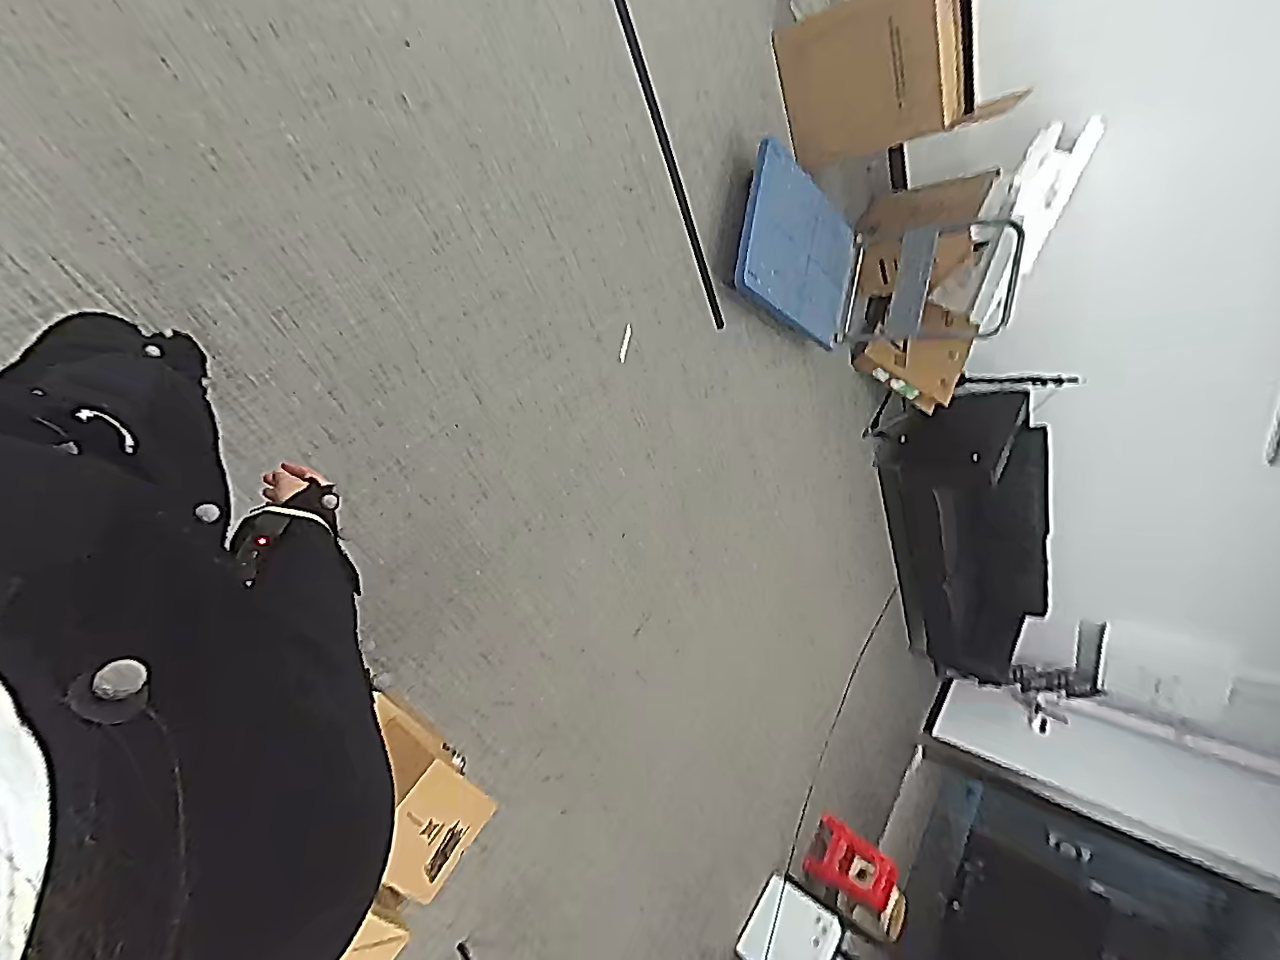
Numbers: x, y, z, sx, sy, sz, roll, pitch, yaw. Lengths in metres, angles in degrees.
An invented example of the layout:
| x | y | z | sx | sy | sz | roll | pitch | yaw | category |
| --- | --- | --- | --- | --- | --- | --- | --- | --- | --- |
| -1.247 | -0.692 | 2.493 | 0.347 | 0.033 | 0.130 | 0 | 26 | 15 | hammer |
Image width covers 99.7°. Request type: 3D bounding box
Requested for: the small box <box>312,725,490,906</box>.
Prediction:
| x | y | z | sx | sy | sz | roll | pitch | yaw | category |
| --- | --- | --- | --- | --- | --- | --- | --- | --- | --- |
| -0.391 | 0.539 | 0.889 | 0.168 | 0.176 | 0.179 | -50 | 127 | -31 | small box |

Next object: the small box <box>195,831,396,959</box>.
| x | y | z | sx | sy | sz | roll | pitch | yaw | category |
| --- | --- | --- | --- | --- | --- | --- | --- | --- | --- |
| -0.498 | 0.675 | 0.797 | 0.168 | 0.176 | 0.179 | -46 | 126 | -27 | small box |
